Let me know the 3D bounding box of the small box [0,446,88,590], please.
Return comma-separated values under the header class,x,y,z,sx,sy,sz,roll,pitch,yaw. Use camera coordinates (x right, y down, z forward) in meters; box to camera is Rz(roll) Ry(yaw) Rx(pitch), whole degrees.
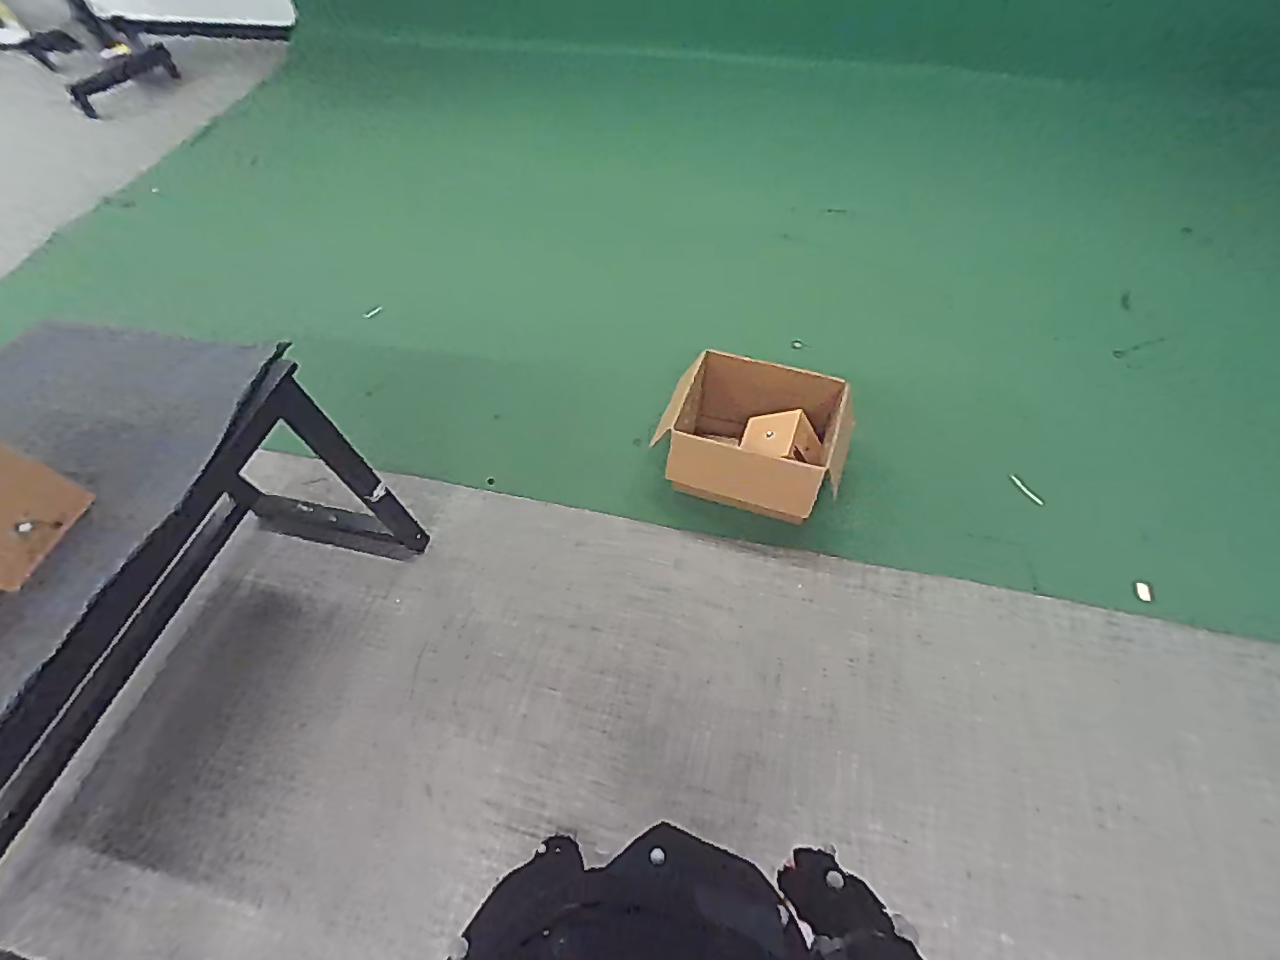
class,x,y,z,sx,sy,sz,roll,pitch,yaw
small box,-0.965,0.040,0.754,0.179,0.176,0.168,9,59,8
